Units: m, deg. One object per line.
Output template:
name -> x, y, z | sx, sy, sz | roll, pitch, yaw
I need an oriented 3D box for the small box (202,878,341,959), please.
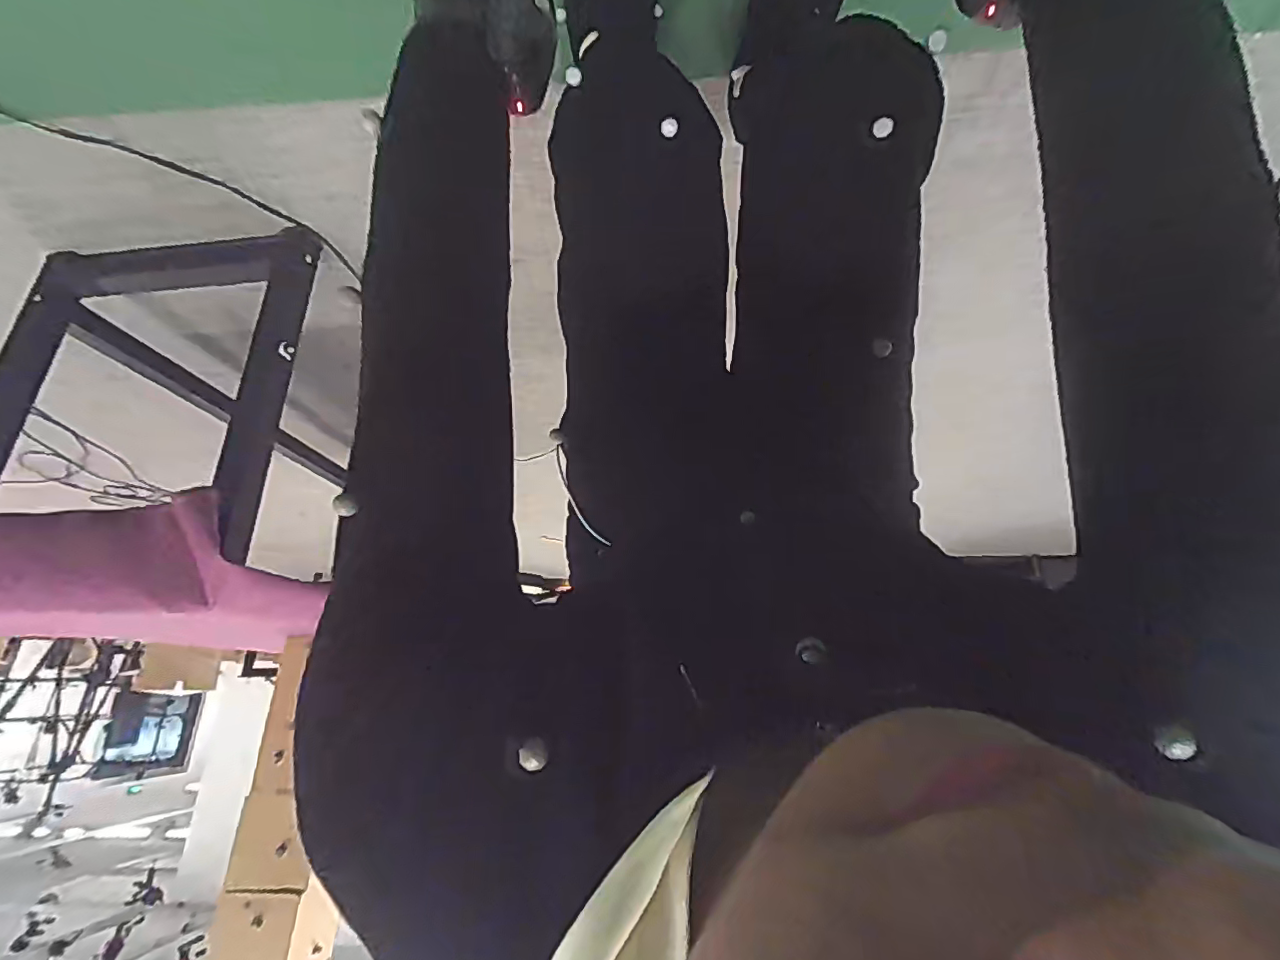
small box -> -0.744, 0.924, 1.100 | 0.168, 0.176, 0.179 | 0, 157, 3

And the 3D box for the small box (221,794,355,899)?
small box -> -0.740, 0.772, 1.163 | 0.179, 0.176, 0.168 | 0, 157, 1
